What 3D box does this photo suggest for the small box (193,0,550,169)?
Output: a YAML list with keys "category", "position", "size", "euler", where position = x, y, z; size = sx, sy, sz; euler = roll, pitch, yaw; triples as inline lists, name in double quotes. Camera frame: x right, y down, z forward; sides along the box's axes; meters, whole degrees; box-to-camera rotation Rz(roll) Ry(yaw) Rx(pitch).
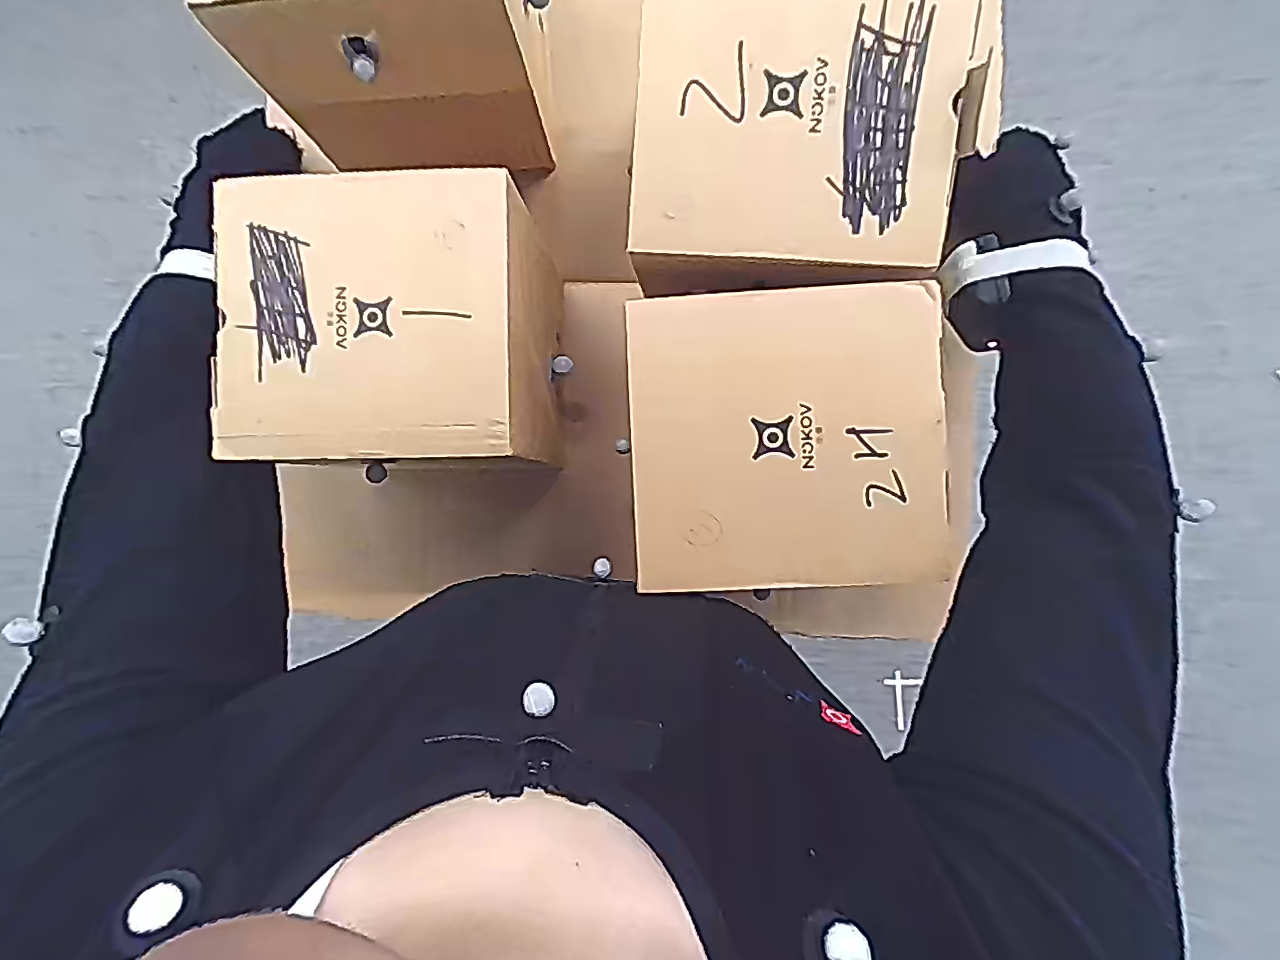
- category: "small box"
  position: [-0.163, -0.348, 0.375]
  size: [0.179, 0.176, 0.168]
  euler: [-4, 87, 3]
